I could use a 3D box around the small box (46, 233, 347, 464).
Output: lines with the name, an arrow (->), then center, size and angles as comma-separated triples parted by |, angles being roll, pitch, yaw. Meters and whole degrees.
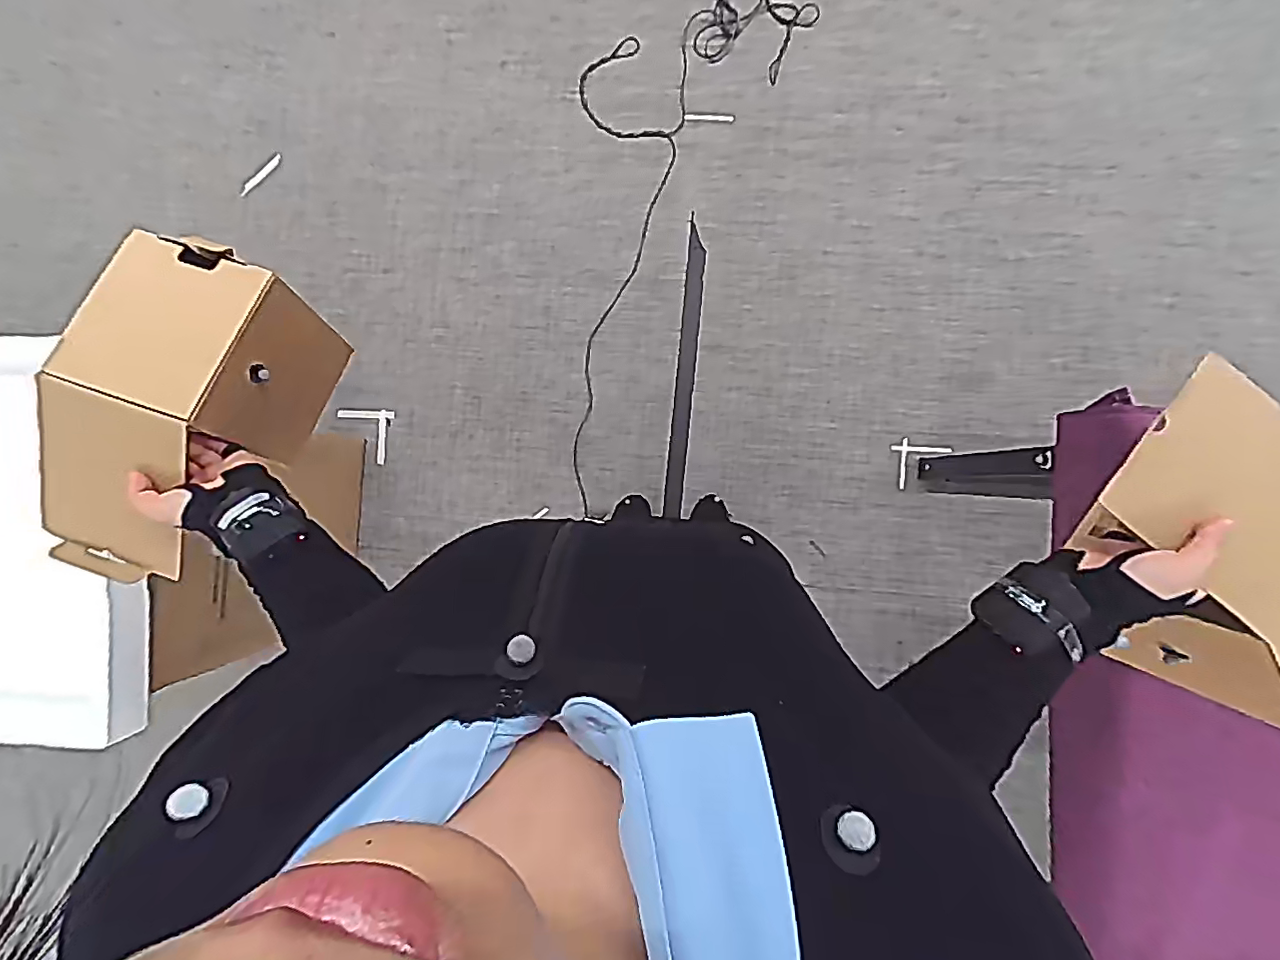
small box -> -0.476, -0.136, 0.617 | 0.168, 0.176, 0.179 | 18, 75, 4
